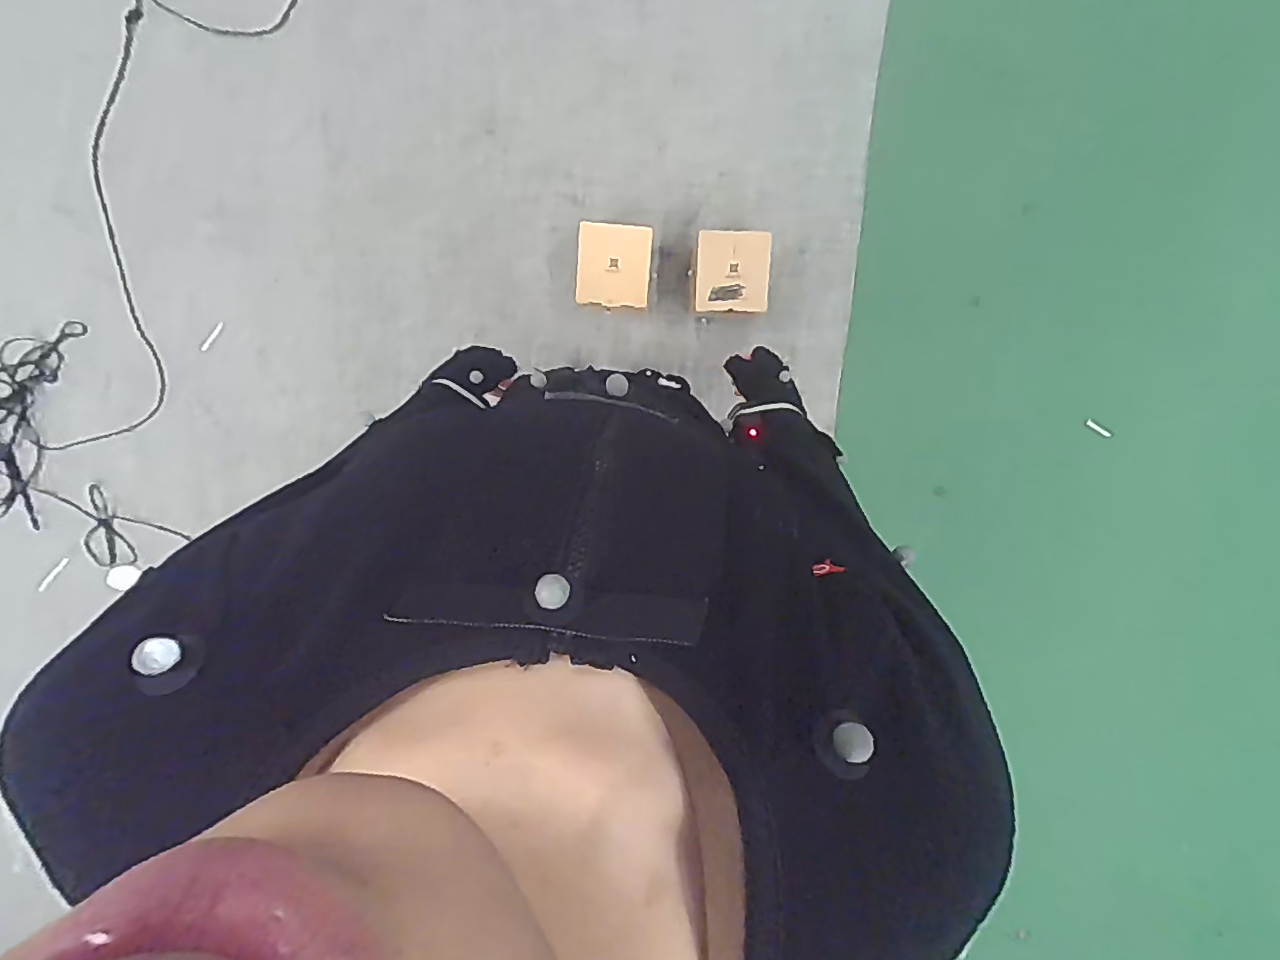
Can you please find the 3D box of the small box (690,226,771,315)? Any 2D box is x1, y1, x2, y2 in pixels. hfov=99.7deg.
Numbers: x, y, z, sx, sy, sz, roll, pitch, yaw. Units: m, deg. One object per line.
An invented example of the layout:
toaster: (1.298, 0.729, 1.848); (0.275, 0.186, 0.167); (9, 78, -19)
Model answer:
small box: (0.208, -0.492, 1.292); (0.168, 0.176, 0.179); (2, 102, 1)

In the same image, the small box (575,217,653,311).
small box: (-0.060, -0.509, 1.294); (0.168, 0.176, 0.179); (5, 103, 0)
